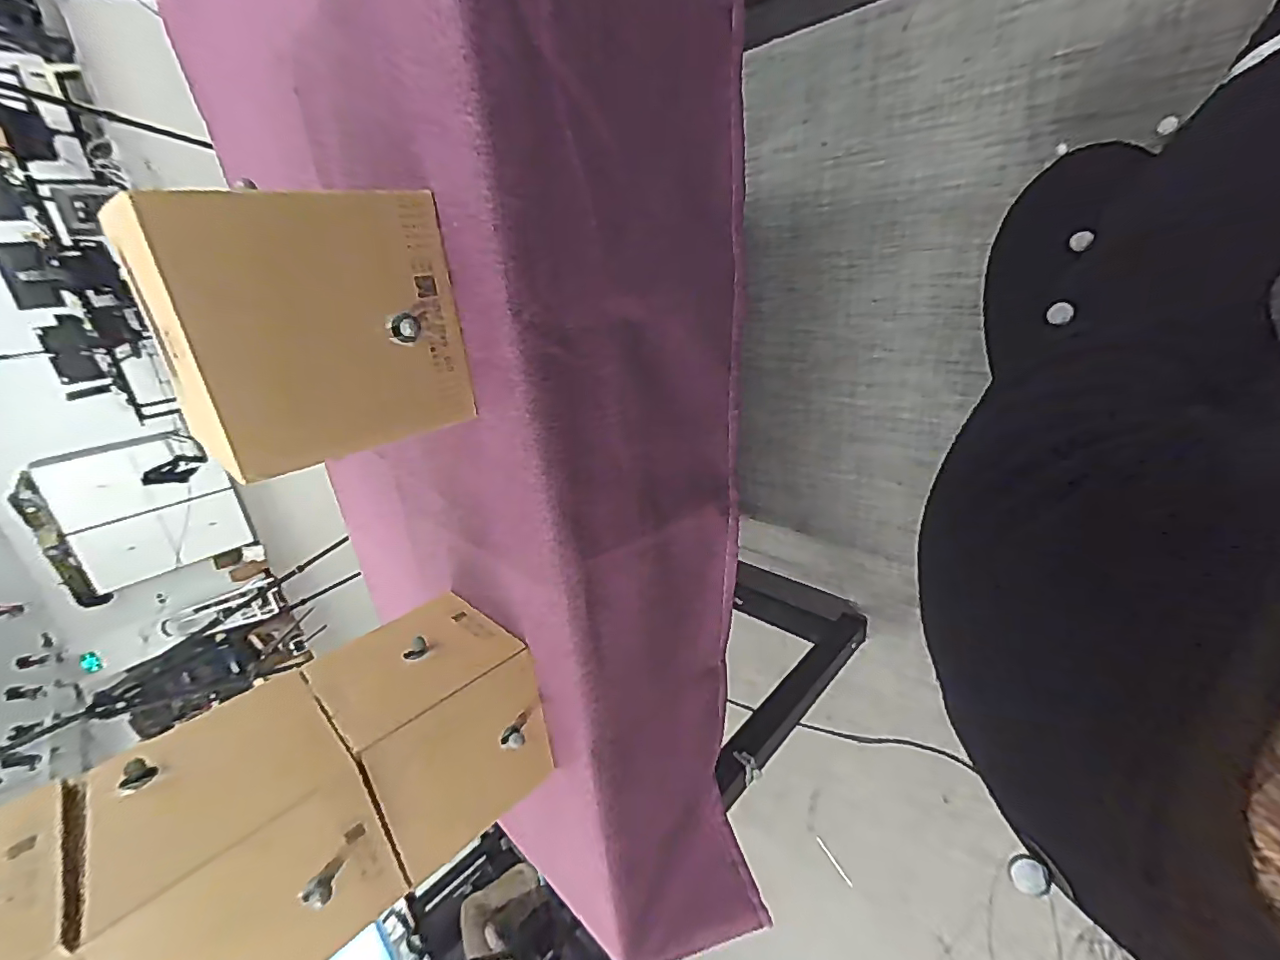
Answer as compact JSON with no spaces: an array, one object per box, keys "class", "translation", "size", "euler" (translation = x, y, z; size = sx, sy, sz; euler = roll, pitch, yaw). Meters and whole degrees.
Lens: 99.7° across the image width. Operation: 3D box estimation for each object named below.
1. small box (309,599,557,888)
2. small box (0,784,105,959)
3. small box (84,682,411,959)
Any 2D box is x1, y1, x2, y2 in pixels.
[{"class":"small box","translation":[-0.208,0.253,0.567],"size":[0.168,0.176,0.179],"euler":[15,120,43]},{"class":"small box","translation":[-0.440,0.358,0.358],"size":[0.168,0.176,0.179],"euler":[19,122,41]},{"class":"small box","translation":[-0.326,0.307,0.465],"size":[0.179,0.176,0.168],"euler":[17,122,41]}]
